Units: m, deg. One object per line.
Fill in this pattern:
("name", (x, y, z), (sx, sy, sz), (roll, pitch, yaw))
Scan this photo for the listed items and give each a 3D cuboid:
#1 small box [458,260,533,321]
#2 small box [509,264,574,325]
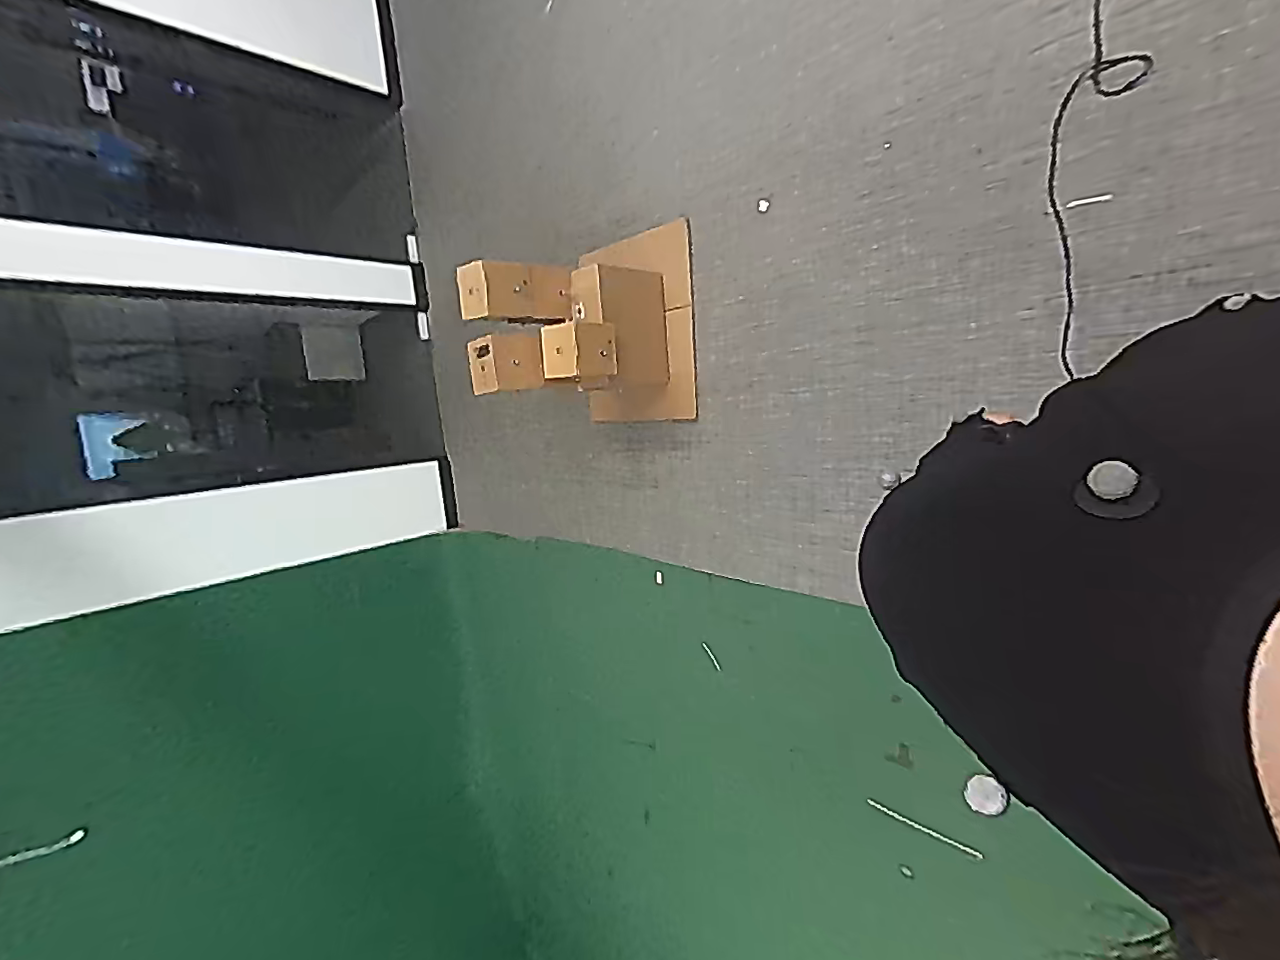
("small box", (-0.468, -0.609, 1.758), (0.179, 0.176, 0.168), (10, 108, 45))
("small box", (-0.347, -0.635, 1.870), (0.168, 0.176, 0.179), (9, 107, 45))
